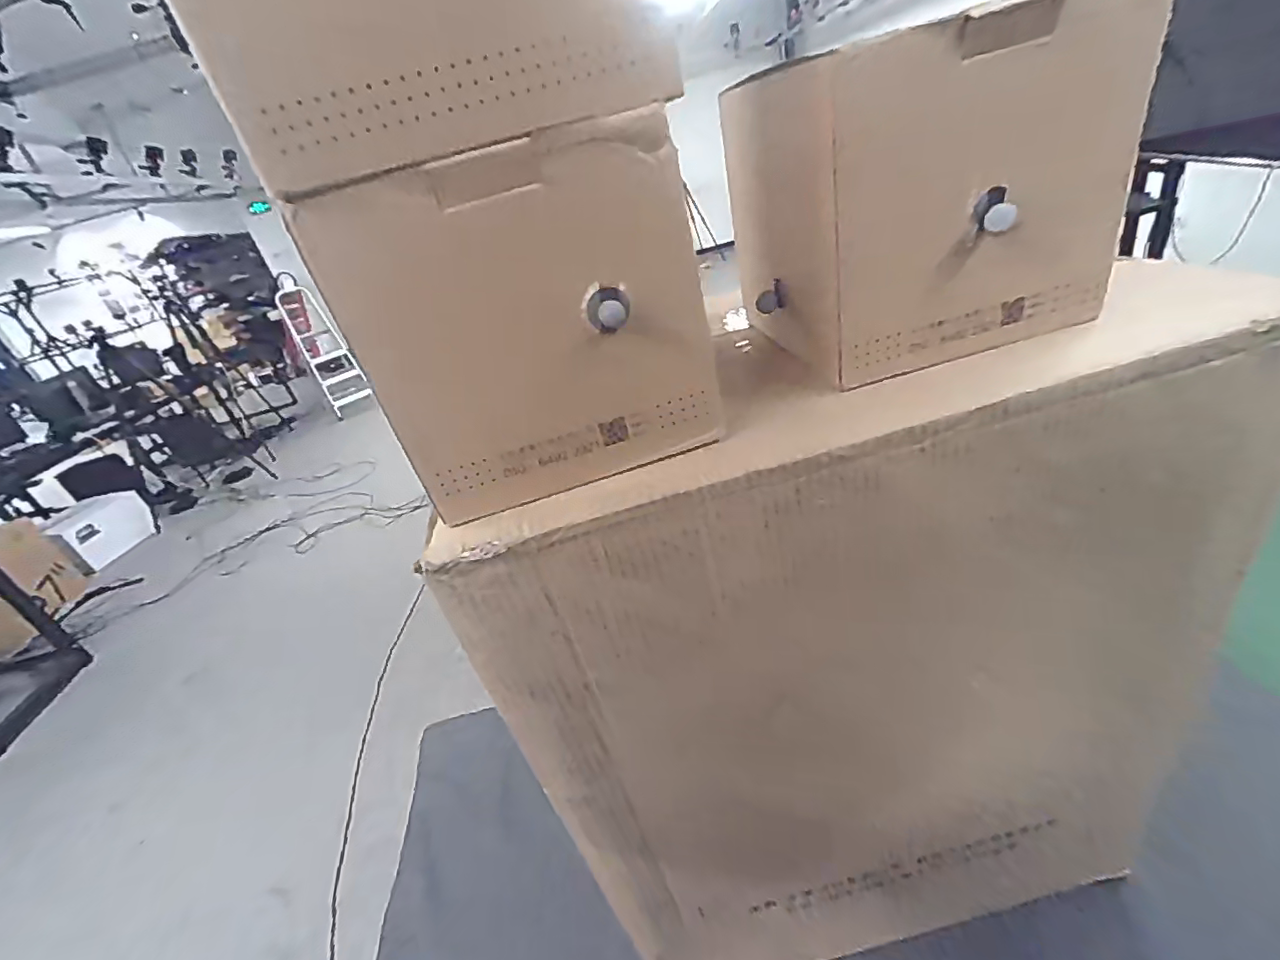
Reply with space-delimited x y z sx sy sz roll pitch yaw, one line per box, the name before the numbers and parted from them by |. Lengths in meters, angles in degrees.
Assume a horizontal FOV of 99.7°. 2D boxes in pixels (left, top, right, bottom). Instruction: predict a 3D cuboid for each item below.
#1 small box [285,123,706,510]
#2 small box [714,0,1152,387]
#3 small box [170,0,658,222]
small box | -0.068 -0.098 0.337 0.168 0.176 0.179 -17 30 -4
small box | 0.161 -0.175 0.356 0.168 0.176 0.179 -16 32 -1
small box | -0.100 -0.231 0.247 0.179 0.176 0.168 -20 33 -11
